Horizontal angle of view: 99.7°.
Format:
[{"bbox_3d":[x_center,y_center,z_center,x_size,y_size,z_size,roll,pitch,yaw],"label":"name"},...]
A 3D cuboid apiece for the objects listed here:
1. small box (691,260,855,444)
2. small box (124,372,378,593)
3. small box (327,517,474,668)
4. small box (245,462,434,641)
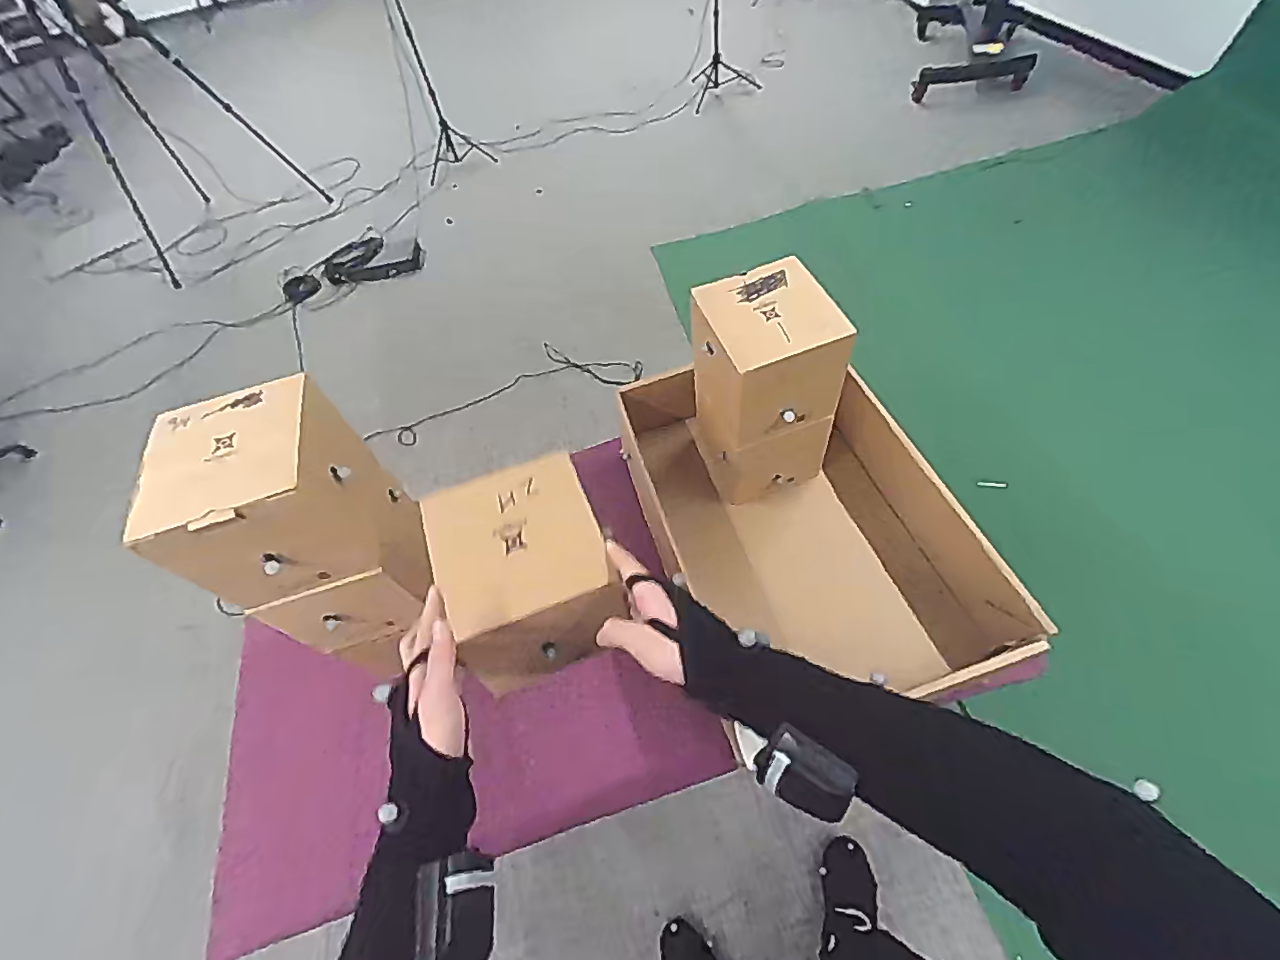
[{"bbox_3d":[0.183,-0.184,0.797,0.168,0.176,0.179,-20,57,-4],"label":"small box"},{"bbox_3d":[-0.421,0.013,0.621,0.168,0.176,0.179,-18,56,-5],"label":"small box"},{"bbox_3d":[-0.385,0.194,0.890,0.168,0.176,0.179,-17,56,-5],"label":"small box"},{"bbox_3d":[-0.402,0.108,0.754,0.168,0.176,0.179,-17,55,-5],"label":"small box"}]
